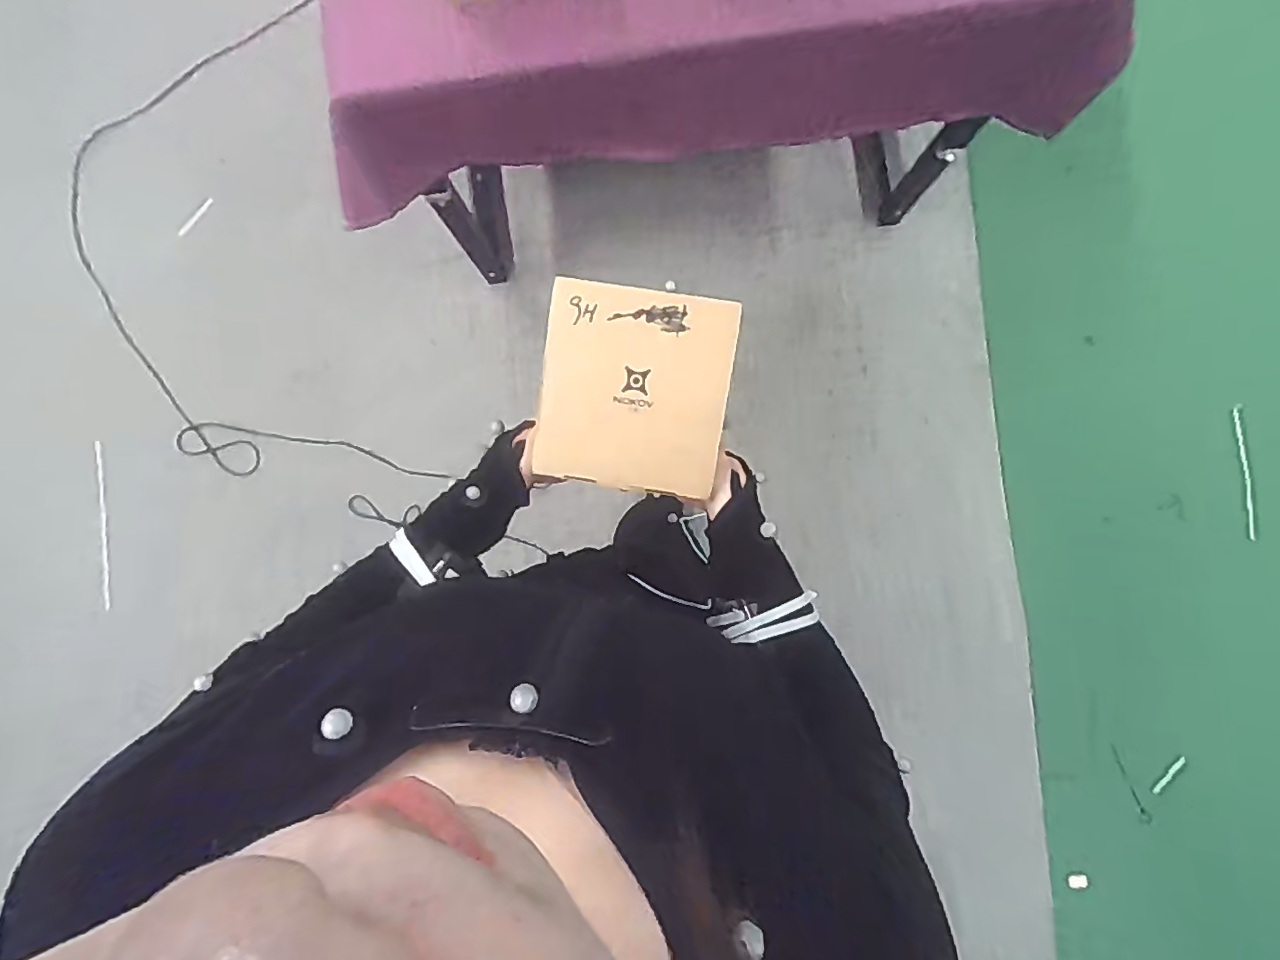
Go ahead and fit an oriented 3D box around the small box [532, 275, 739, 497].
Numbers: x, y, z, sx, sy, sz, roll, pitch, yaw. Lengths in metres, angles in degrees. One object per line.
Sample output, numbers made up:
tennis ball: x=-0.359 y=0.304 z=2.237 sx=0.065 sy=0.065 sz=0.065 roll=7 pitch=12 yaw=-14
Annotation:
small box: x=-0.002 y=-0.091 z=0.552 sx=0.168 sy=0.176 sz=0.179 roll=8 pitch=98 yaw=2
